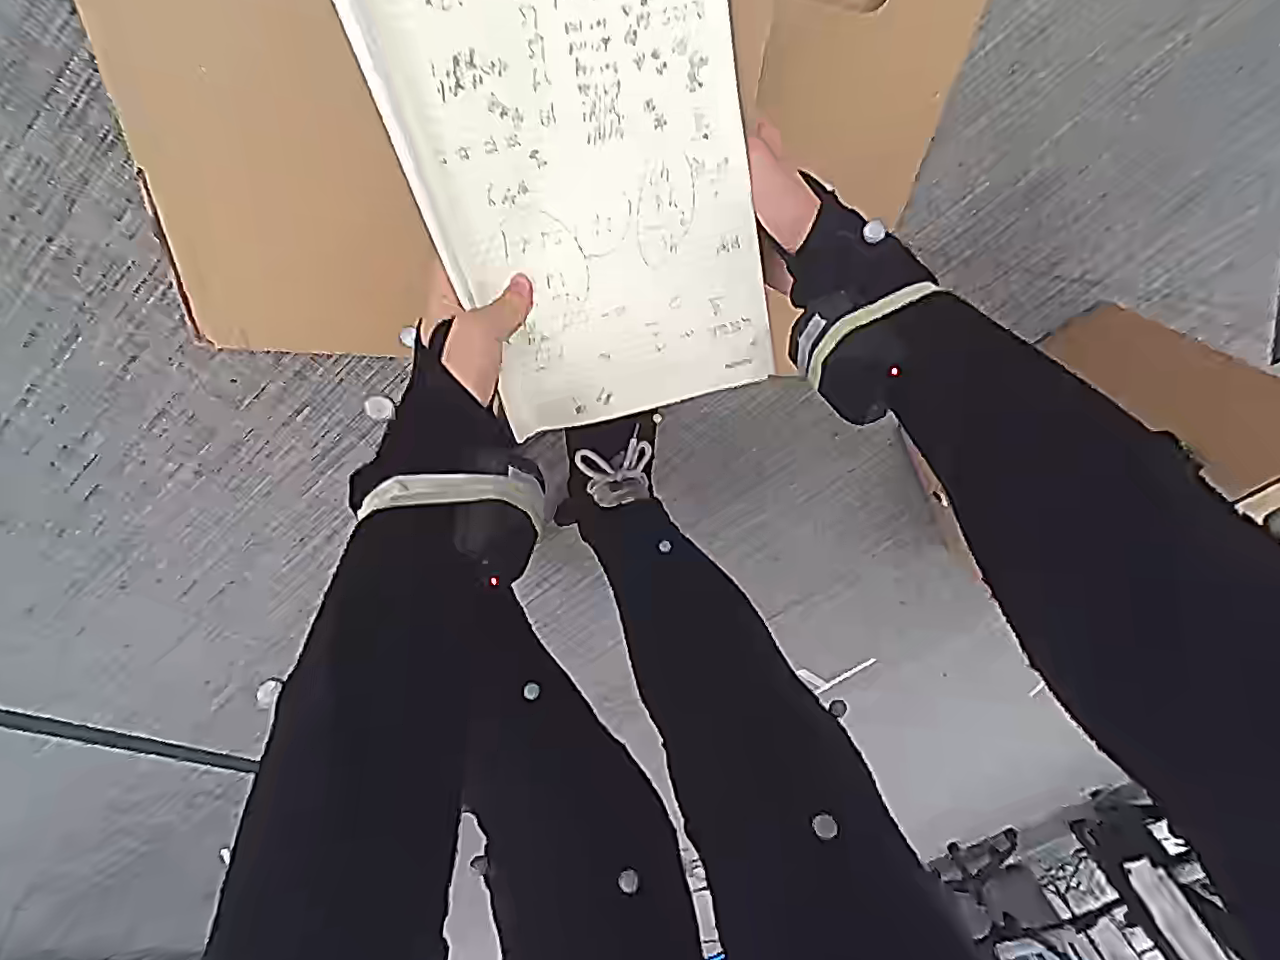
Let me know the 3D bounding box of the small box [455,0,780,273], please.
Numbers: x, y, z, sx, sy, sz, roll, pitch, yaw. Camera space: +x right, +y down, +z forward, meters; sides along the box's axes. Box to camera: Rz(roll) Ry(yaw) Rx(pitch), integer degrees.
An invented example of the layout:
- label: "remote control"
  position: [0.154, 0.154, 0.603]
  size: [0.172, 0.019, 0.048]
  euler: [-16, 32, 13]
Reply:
- label: "small box"
  position: [-0.031, -0.261, 0.394]
  size: [0.179, 0.176, 0.168]
  euler: [-8, 129, -17]
